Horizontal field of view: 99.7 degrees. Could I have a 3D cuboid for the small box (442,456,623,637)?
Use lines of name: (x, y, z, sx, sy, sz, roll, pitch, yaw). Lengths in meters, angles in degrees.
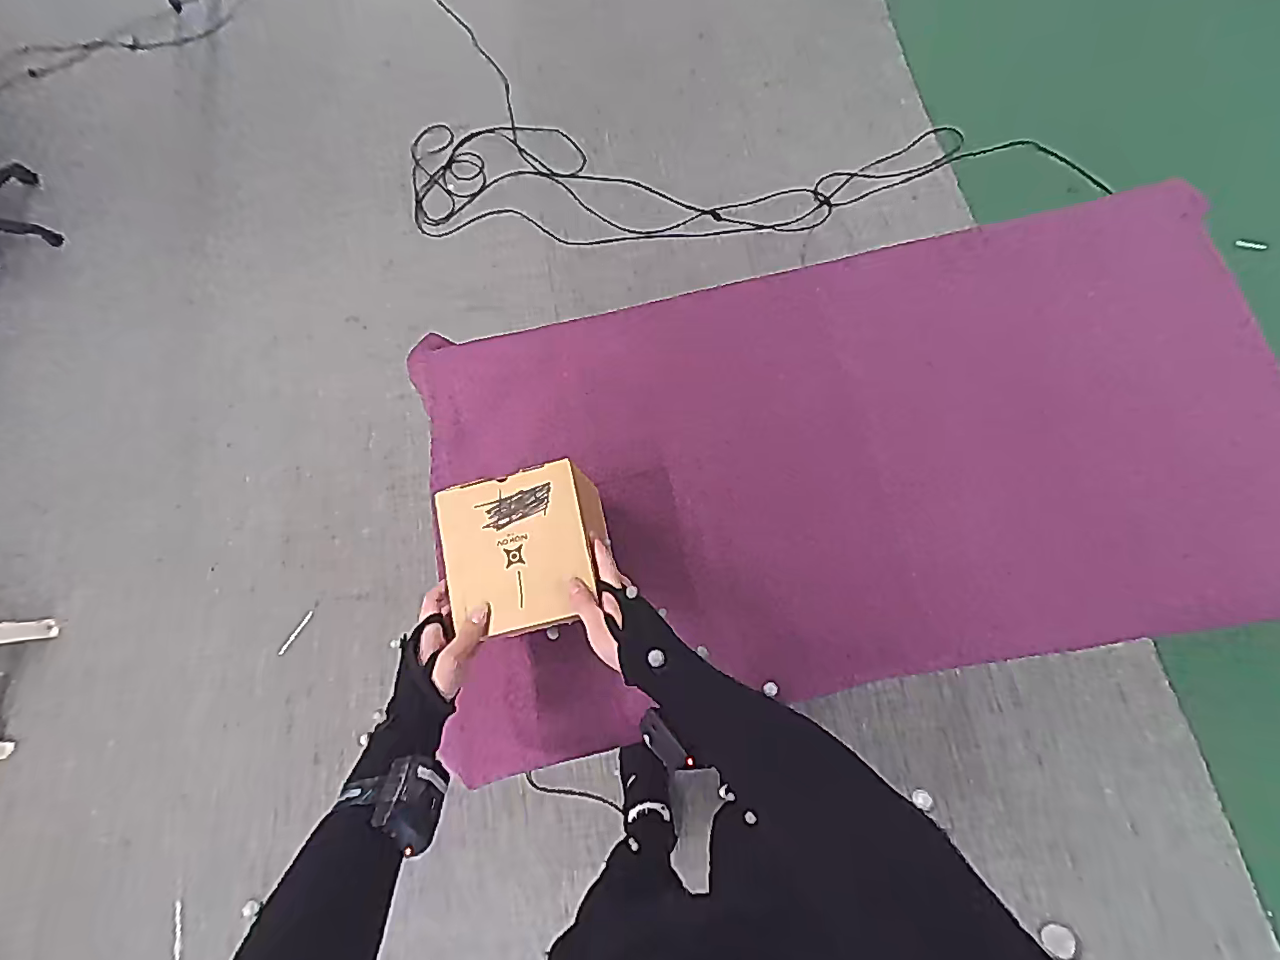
small box: (-0.125, 0.090, 0.678, 0.168, 0.176, 0.179, -14, 76, 3)
